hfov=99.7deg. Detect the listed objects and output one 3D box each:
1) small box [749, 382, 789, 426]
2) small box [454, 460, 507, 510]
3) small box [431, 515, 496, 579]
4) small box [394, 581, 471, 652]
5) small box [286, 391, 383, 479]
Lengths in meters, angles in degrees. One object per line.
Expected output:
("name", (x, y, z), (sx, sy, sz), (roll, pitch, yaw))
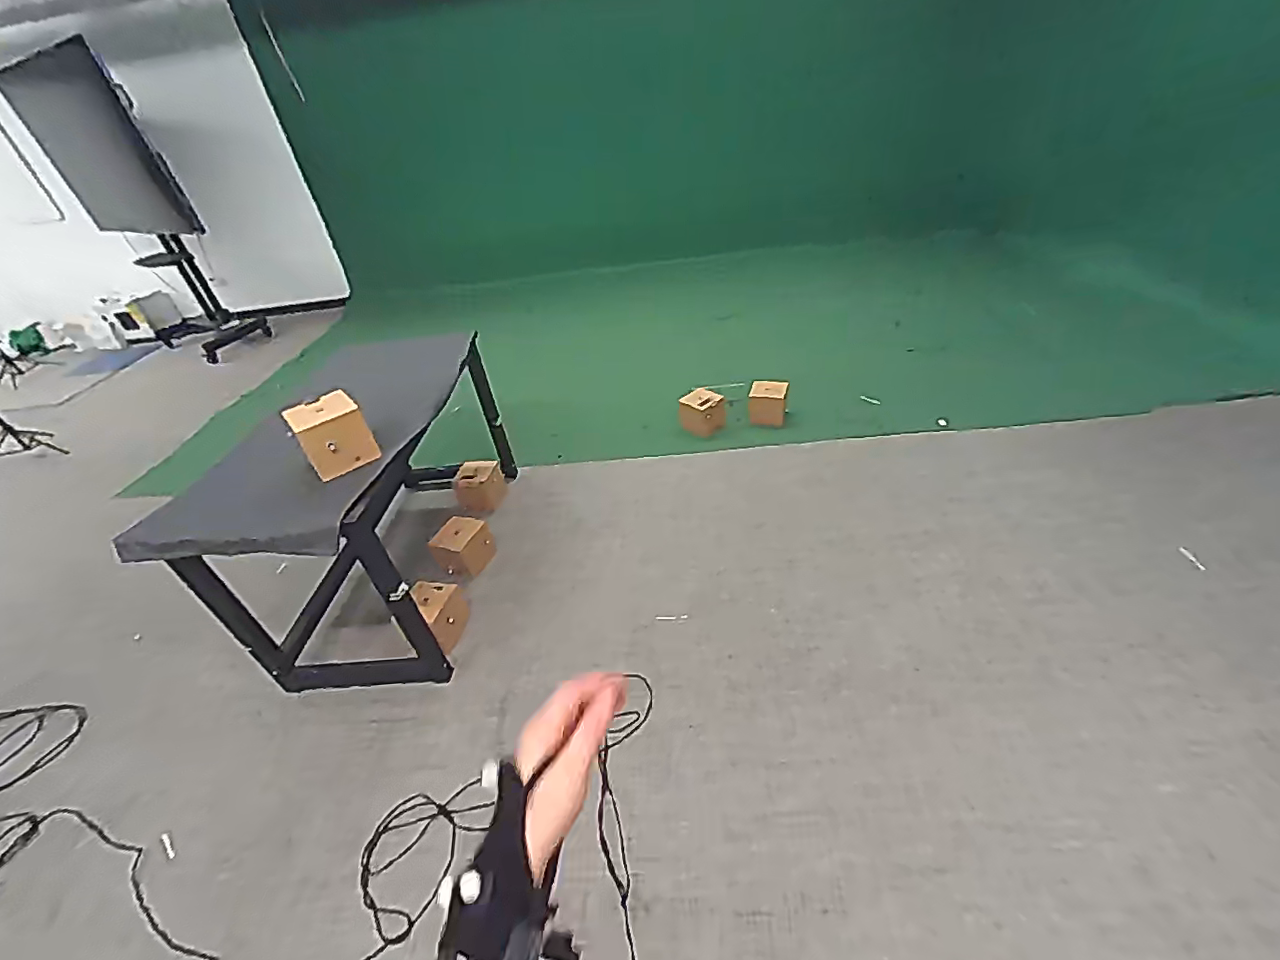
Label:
("small box", (0.662, -0.391, 2.784), (0.179, 0.176, 0.168), (8, 40, 20))
("small box", (-0.734, 0.027, 2.512), (0.168, 0.176, 0.179), (-1, 37, 9))
("small box", (-0.705, 0.272, 2.189), (0.168, 0.176, 0.179), (7, 41, 21))
("small box", (-0.726, 0.485, 1.915), (0.168, 0.176, 0.179), (3, 39, 15))
("small box", (-0.860, -0.125, 1.532), (0.168, 0.176, 0.179), (-32, 43, -28))
